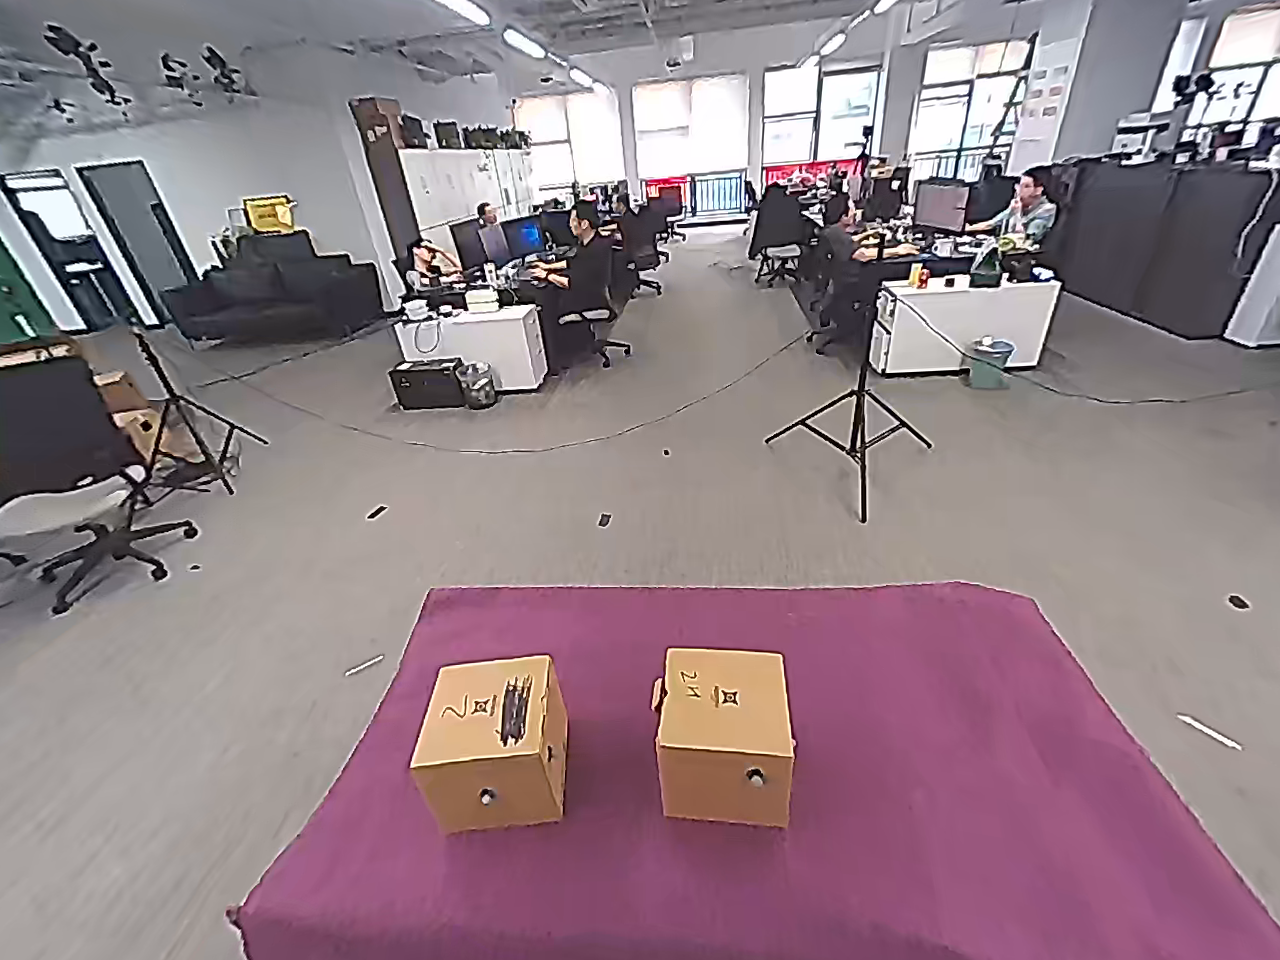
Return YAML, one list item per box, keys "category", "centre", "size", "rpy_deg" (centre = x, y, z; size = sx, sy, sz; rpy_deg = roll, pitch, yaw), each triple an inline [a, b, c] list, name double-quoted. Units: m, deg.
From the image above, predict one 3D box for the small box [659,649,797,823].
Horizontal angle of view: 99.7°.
- category: "small box"
  centre: [0.127, 0.372, 0.792]
  size: [0.179, 0.176, 0.168]
  rpy_deg: [-1, 30, 9]
